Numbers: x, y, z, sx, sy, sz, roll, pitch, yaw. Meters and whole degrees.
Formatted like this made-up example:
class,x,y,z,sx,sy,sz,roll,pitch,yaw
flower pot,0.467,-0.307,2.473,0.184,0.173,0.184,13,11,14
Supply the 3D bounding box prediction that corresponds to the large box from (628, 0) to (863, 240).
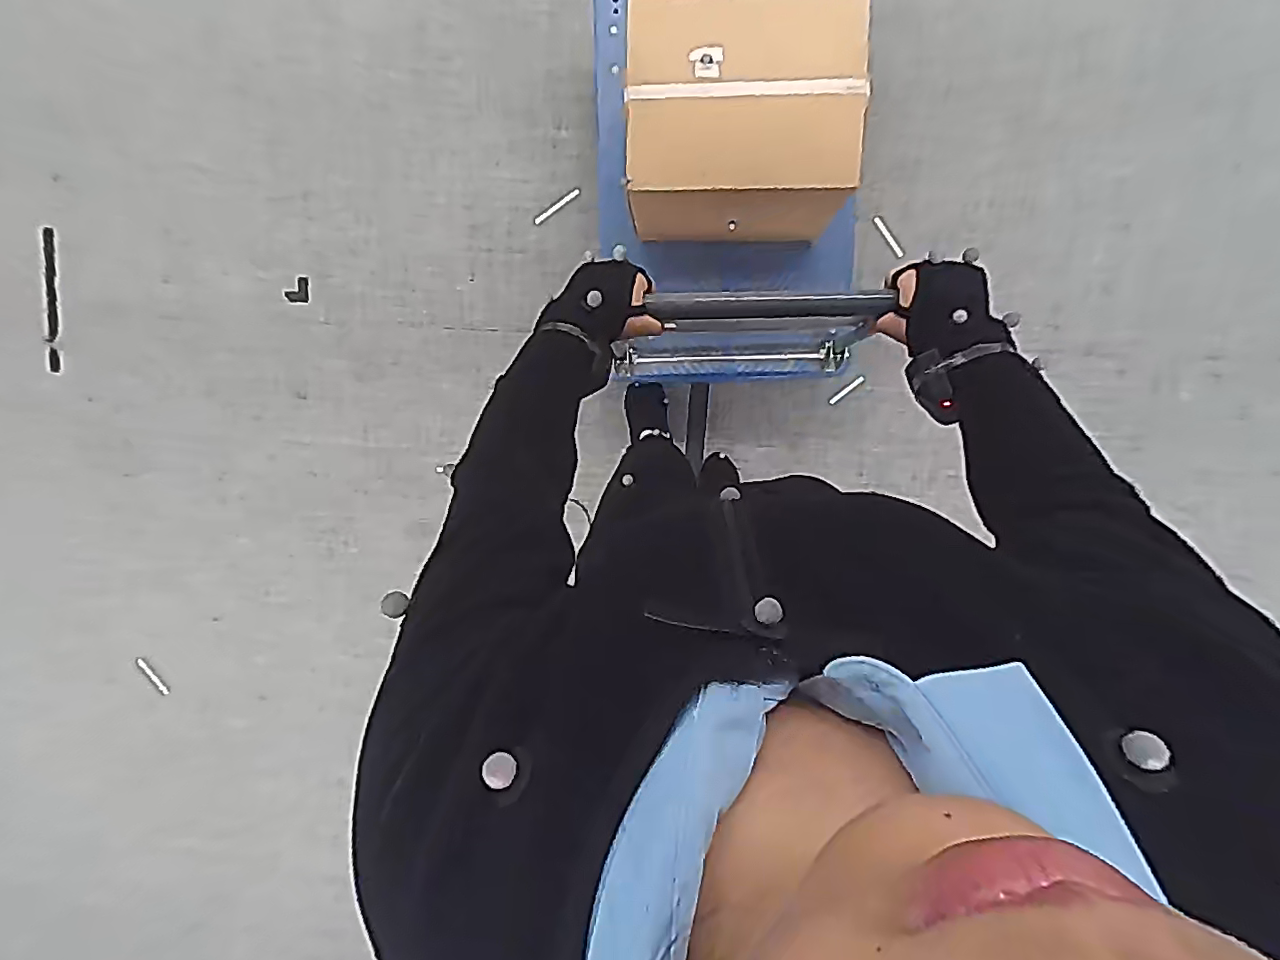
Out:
class,x,y,z,sx,sy,sz,roll,pitch,yaw
large box,0.191,-0.688,1.082,0.408,0.320,0.320,1,97,4
